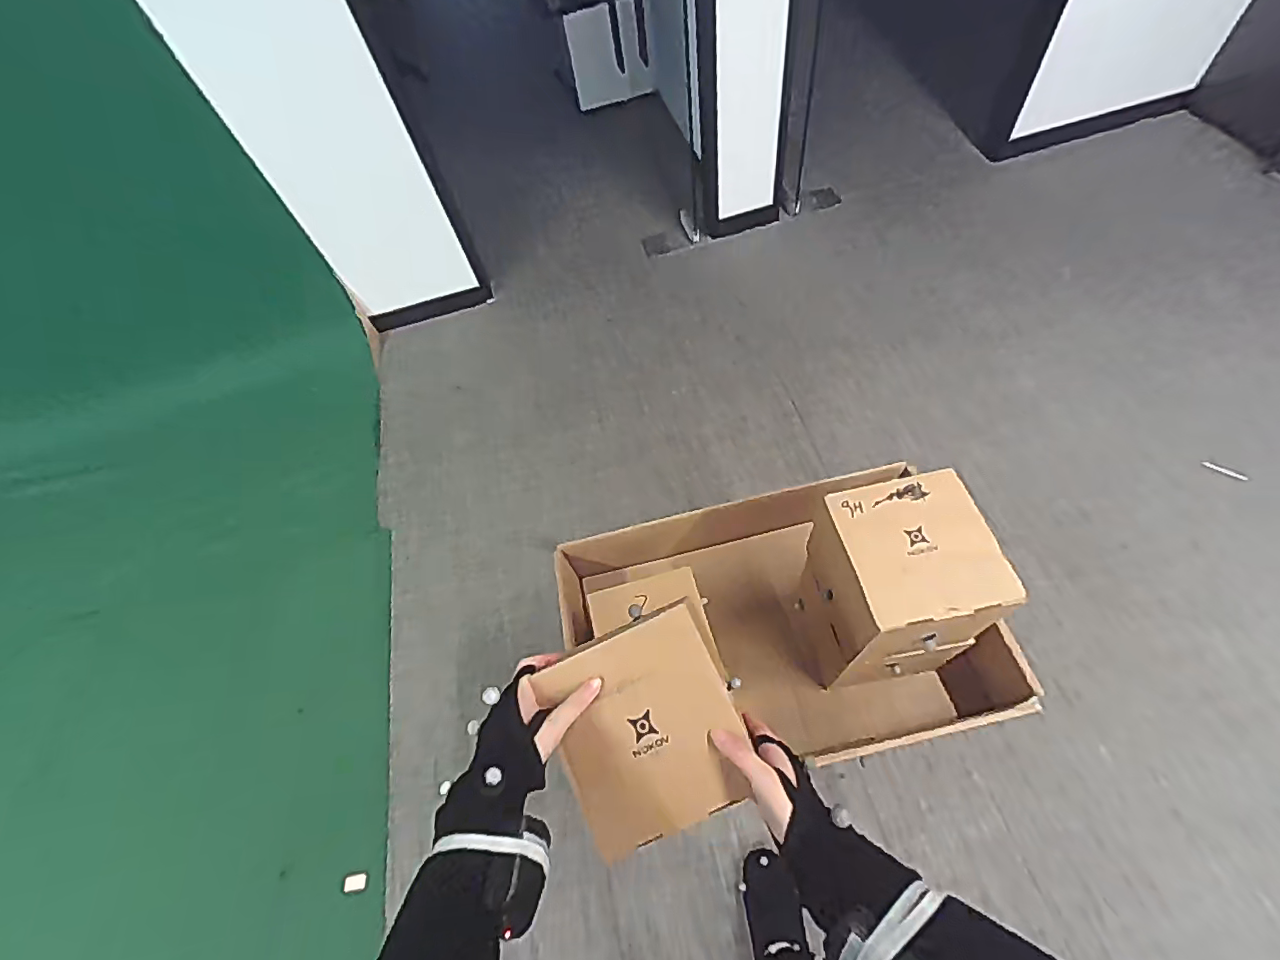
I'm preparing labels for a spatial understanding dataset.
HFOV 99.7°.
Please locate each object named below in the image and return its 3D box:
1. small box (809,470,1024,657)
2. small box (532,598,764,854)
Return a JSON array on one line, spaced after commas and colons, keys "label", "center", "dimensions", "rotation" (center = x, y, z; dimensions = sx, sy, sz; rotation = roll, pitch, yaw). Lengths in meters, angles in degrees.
[{"label": "small box", "center": [0.330, 0.116, 0.690], "dimensions": [0.168, 0.176, 0.179], "rotation": [-12, 58, 1]}, {"label": "small box", "center": [0.015, 0.237, 0.572], "dimensions": [0.168, 0.176, 0.179], "rotation": [-26, 78, 2]}]
